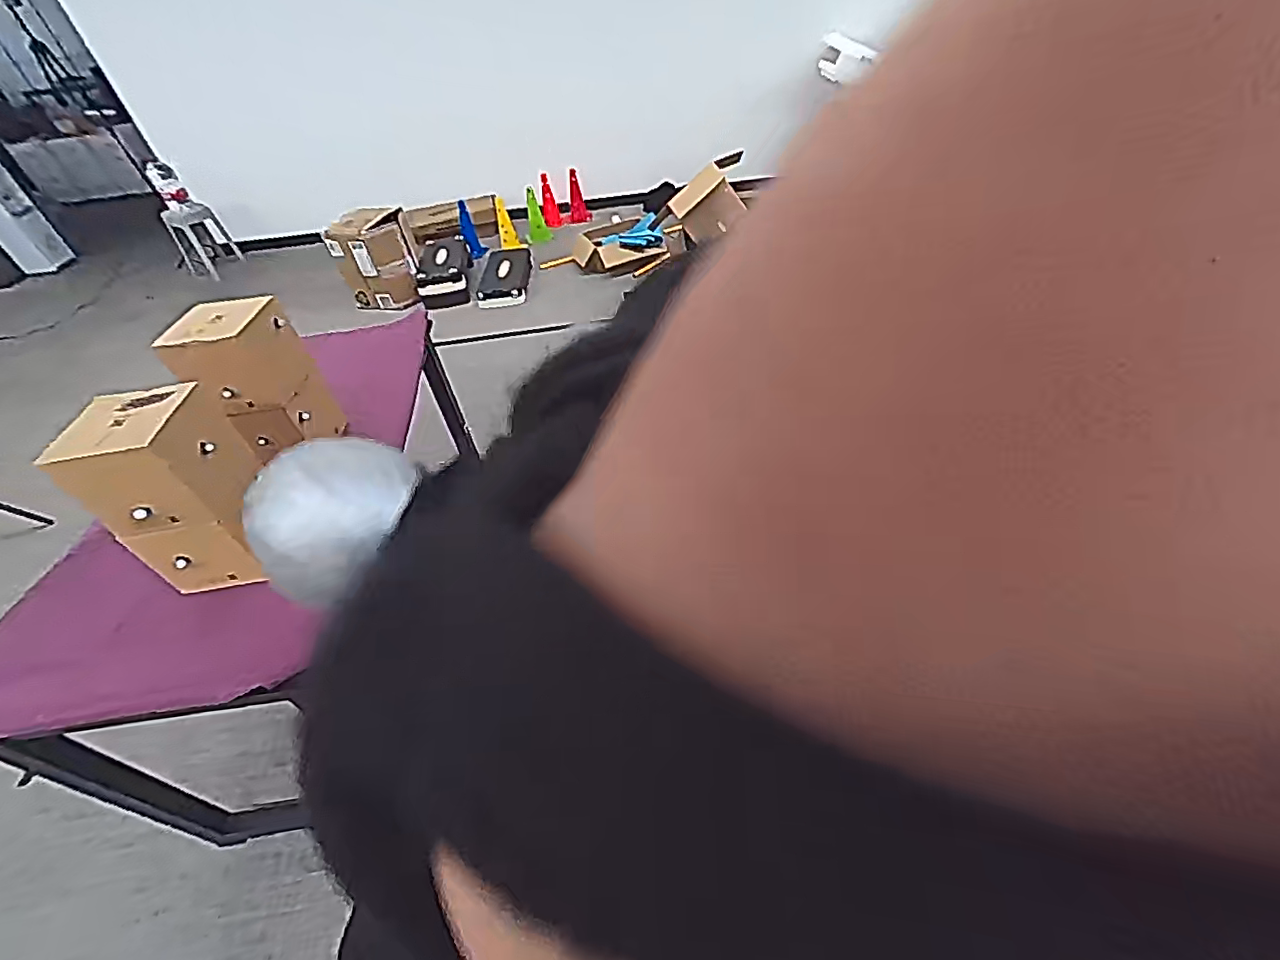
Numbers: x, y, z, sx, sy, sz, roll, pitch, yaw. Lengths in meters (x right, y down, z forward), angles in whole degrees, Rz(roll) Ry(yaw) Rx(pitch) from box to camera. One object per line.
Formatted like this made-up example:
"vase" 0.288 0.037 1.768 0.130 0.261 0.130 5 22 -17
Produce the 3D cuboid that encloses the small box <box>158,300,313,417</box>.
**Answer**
"small box" -0.822 -0.251 1.125 0.168 0.176 0.179 -7 44 2

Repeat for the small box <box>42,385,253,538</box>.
"small box" -0.792 -0.031 0.900 0.168 0.176 0.179 -10 44 -3

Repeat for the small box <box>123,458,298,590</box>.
"small box" -0.782 0.089 1.012 0.168 0.176 0.179 -10 44 -3
